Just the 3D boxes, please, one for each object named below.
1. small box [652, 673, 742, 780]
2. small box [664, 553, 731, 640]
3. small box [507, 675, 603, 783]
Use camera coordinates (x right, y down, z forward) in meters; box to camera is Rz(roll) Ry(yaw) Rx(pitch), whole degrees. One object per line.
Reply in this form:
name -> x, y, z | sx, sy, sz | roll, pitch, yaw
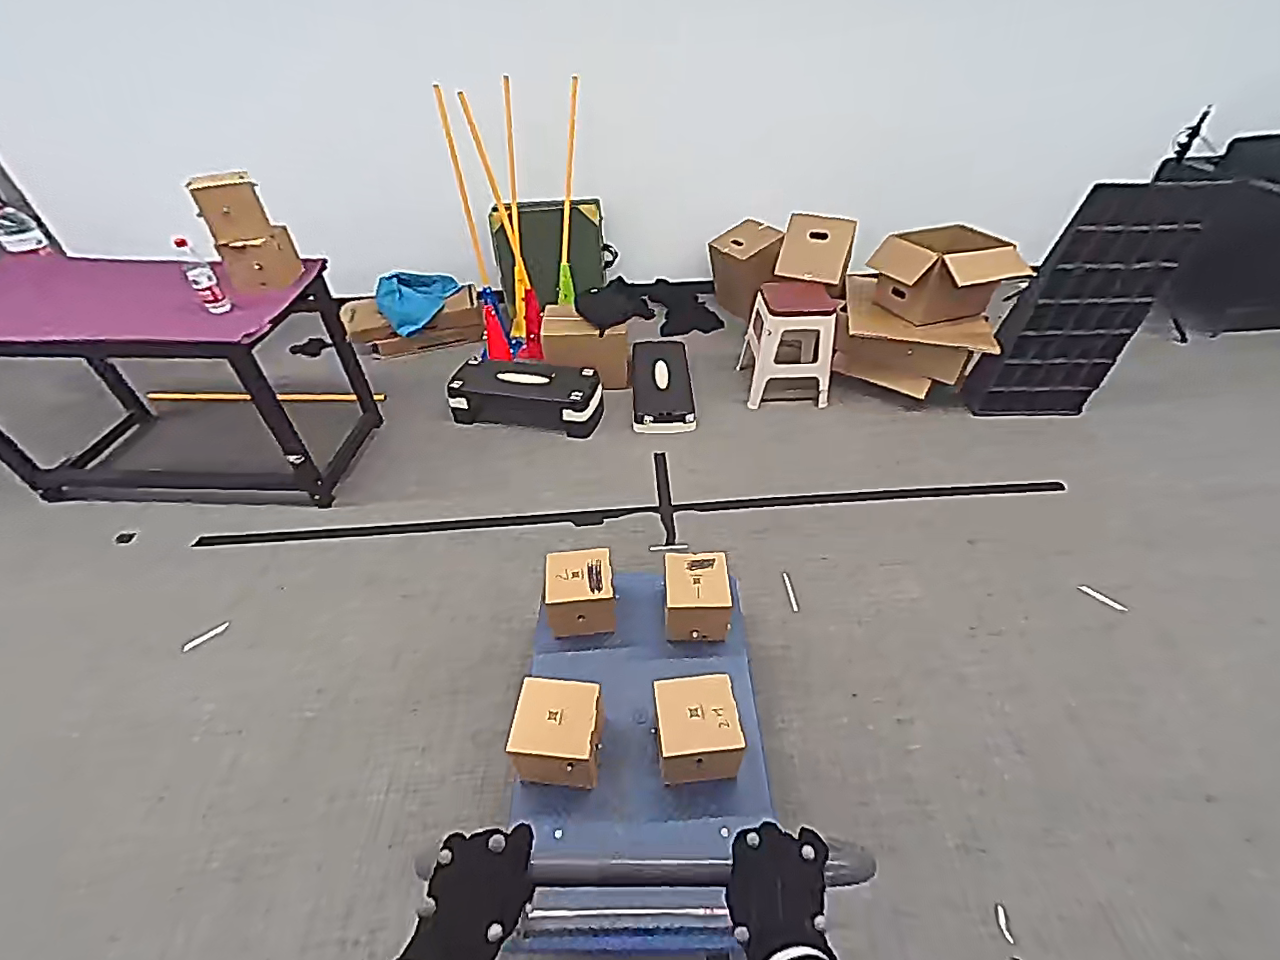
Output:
small box -> 0.123, 0.562, 1.226 | 0.179, 0.176, 0.168 | -4, 43, -4
small box -> 0.151, 0.319, 1.485 | 0.168, 0.176, 0.179 | 0, 45, 1
small box -> -0.184, 0.567, 1.226 | 0.179, 0.176, 0.168 | 4, 43, 3
